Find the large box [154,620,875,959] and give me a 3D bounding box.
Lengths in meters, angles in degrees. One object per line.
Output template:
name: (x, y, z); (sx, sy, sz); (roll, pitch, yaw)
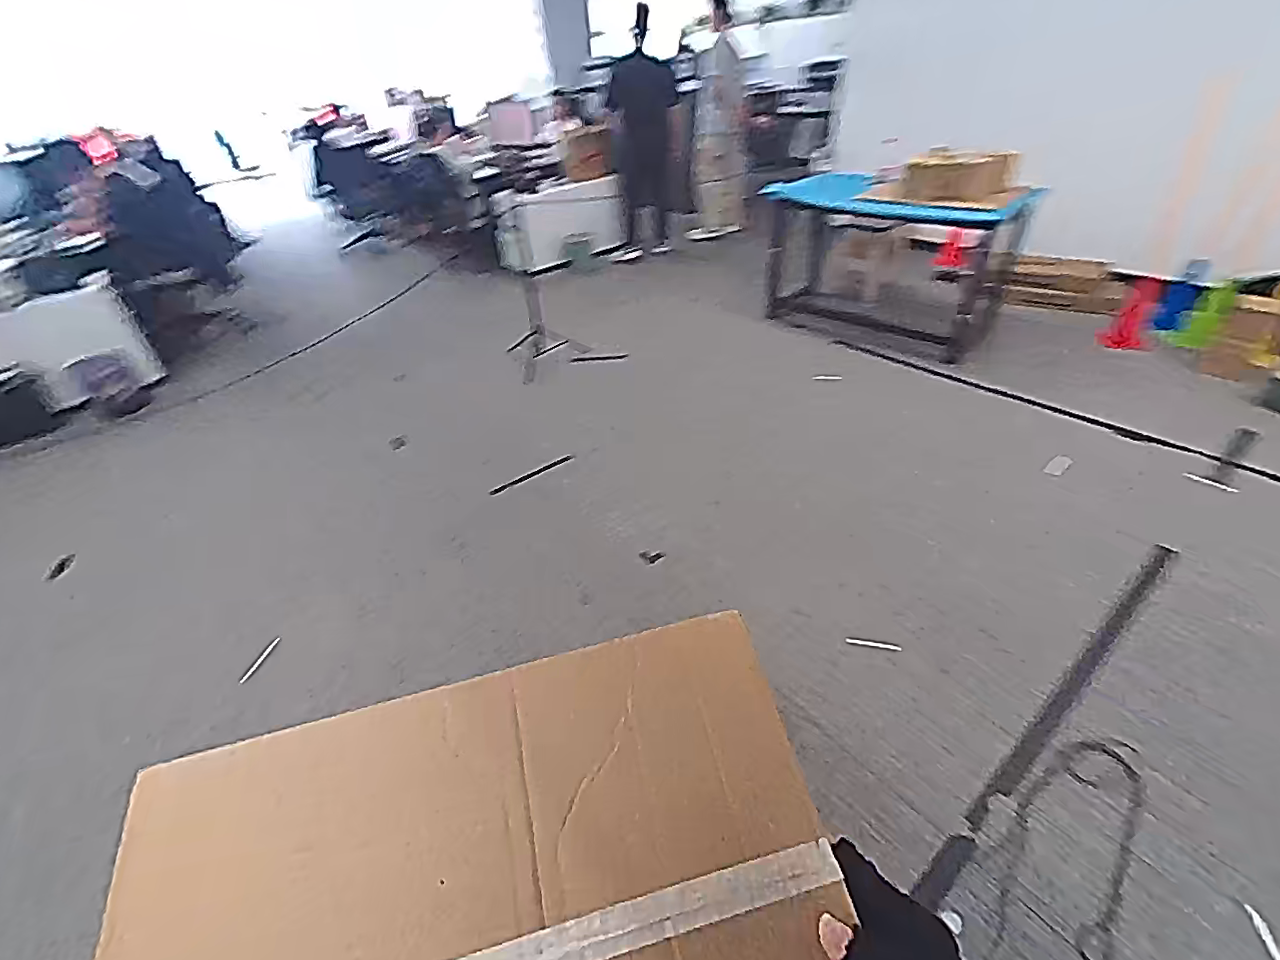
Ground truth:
large box: (-0.069, 0.352, 0.423); (0.408, 0.320, 0.320); (-12, 58, -5)
